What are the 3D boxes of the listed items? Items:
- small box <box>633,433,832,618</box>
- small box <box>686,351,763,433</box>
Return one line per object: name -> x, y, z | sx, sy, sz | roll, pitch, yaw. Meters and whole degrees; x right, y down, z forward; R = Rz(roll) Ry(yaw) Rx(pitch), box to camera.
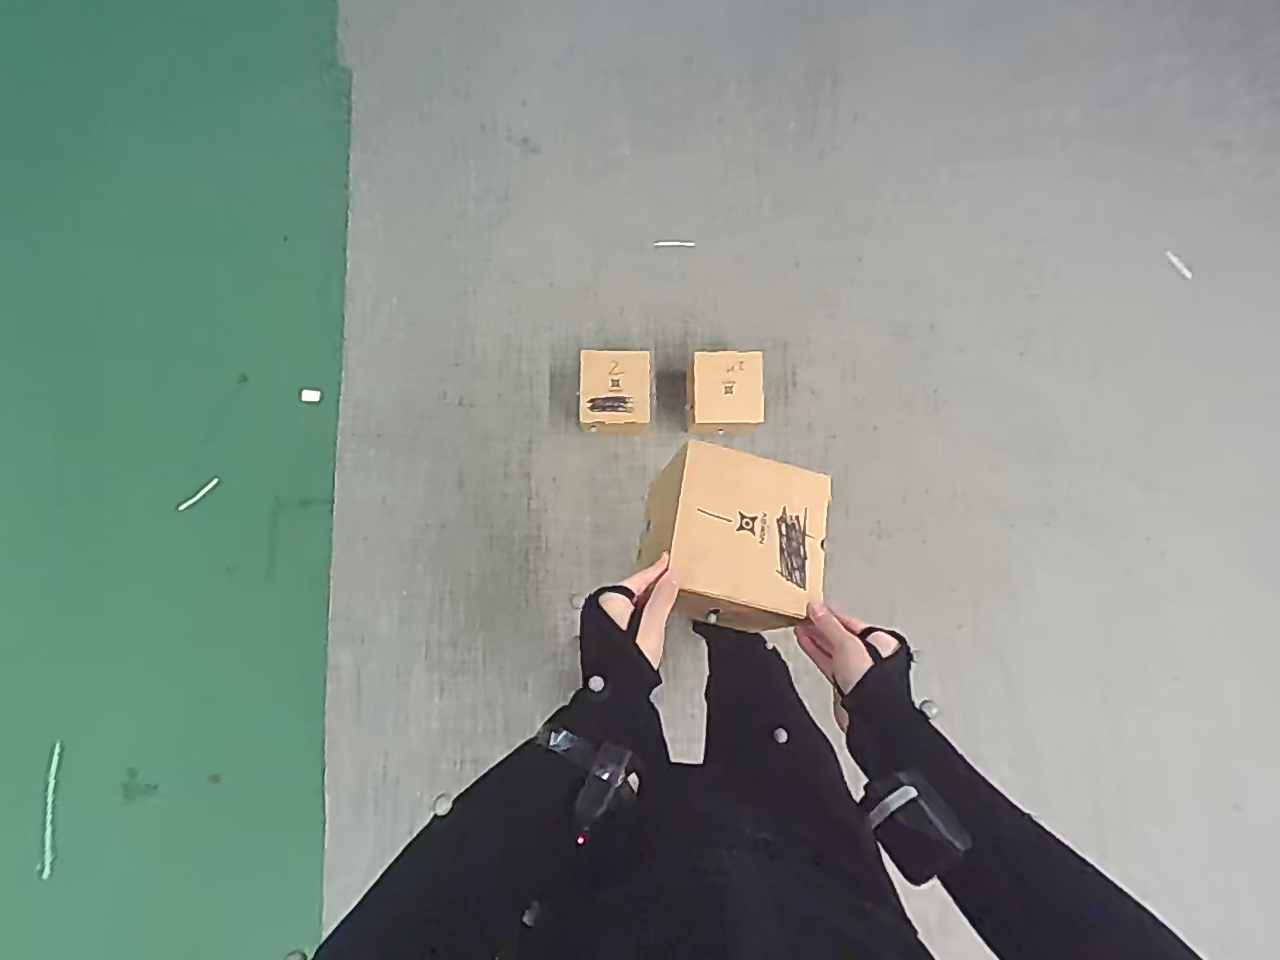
small box -> 0.105, 0.067, 0.652 | 0.179, 0.176, 0.168 | 14, 69, -9
small box -> 0.208, -0.215, 1.358 | 0.168, 0.176, 0.179 | 0, 85, -2
